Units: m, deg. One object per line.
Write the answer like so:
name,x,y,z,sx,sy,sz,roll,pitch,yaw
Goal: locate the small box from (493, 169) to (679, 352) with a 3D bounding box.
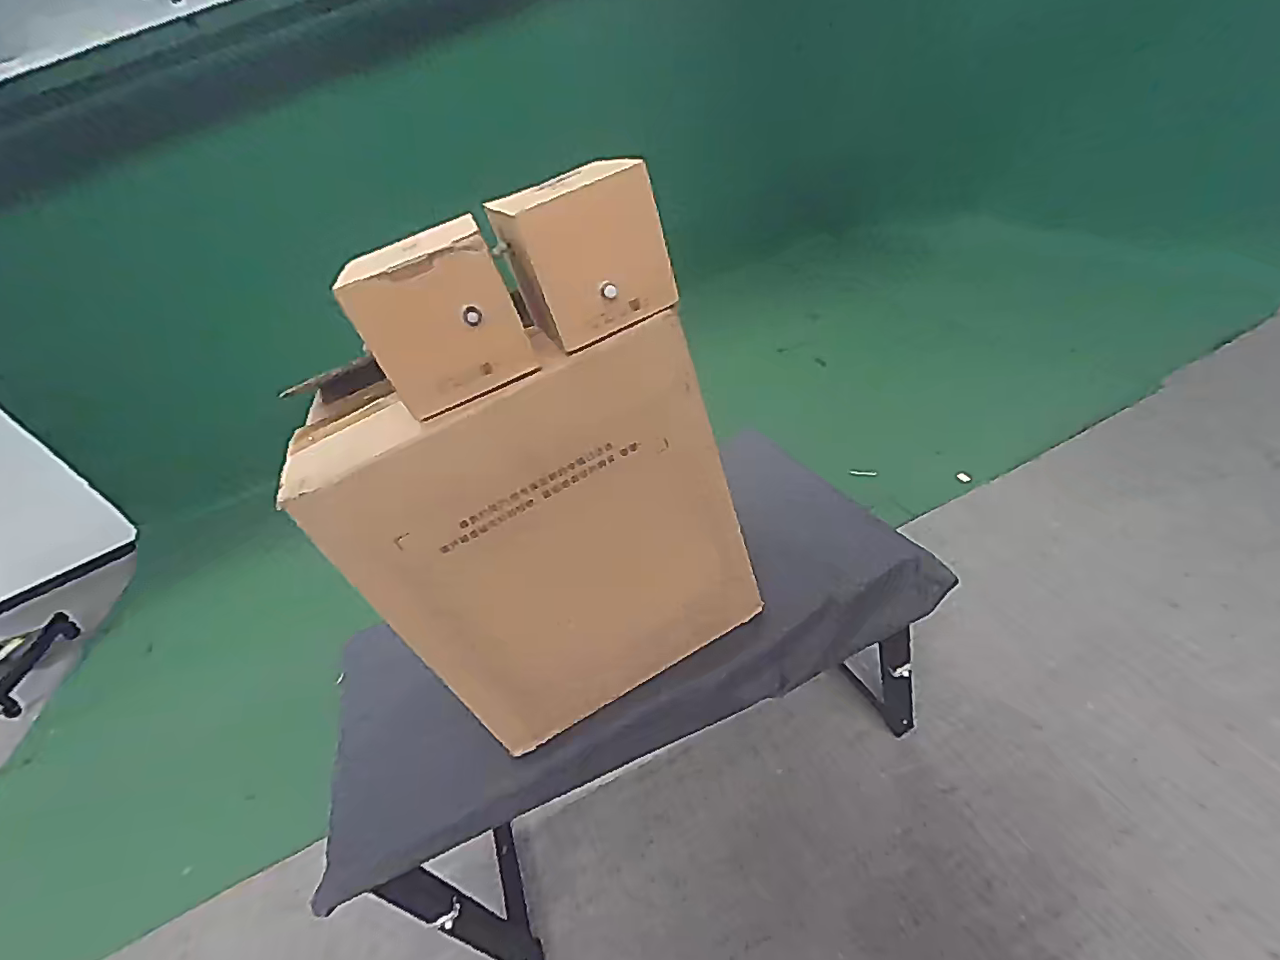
small box,-0.070,-0.288,0.708,0.168,0.176,0.179,-28,37,-10
